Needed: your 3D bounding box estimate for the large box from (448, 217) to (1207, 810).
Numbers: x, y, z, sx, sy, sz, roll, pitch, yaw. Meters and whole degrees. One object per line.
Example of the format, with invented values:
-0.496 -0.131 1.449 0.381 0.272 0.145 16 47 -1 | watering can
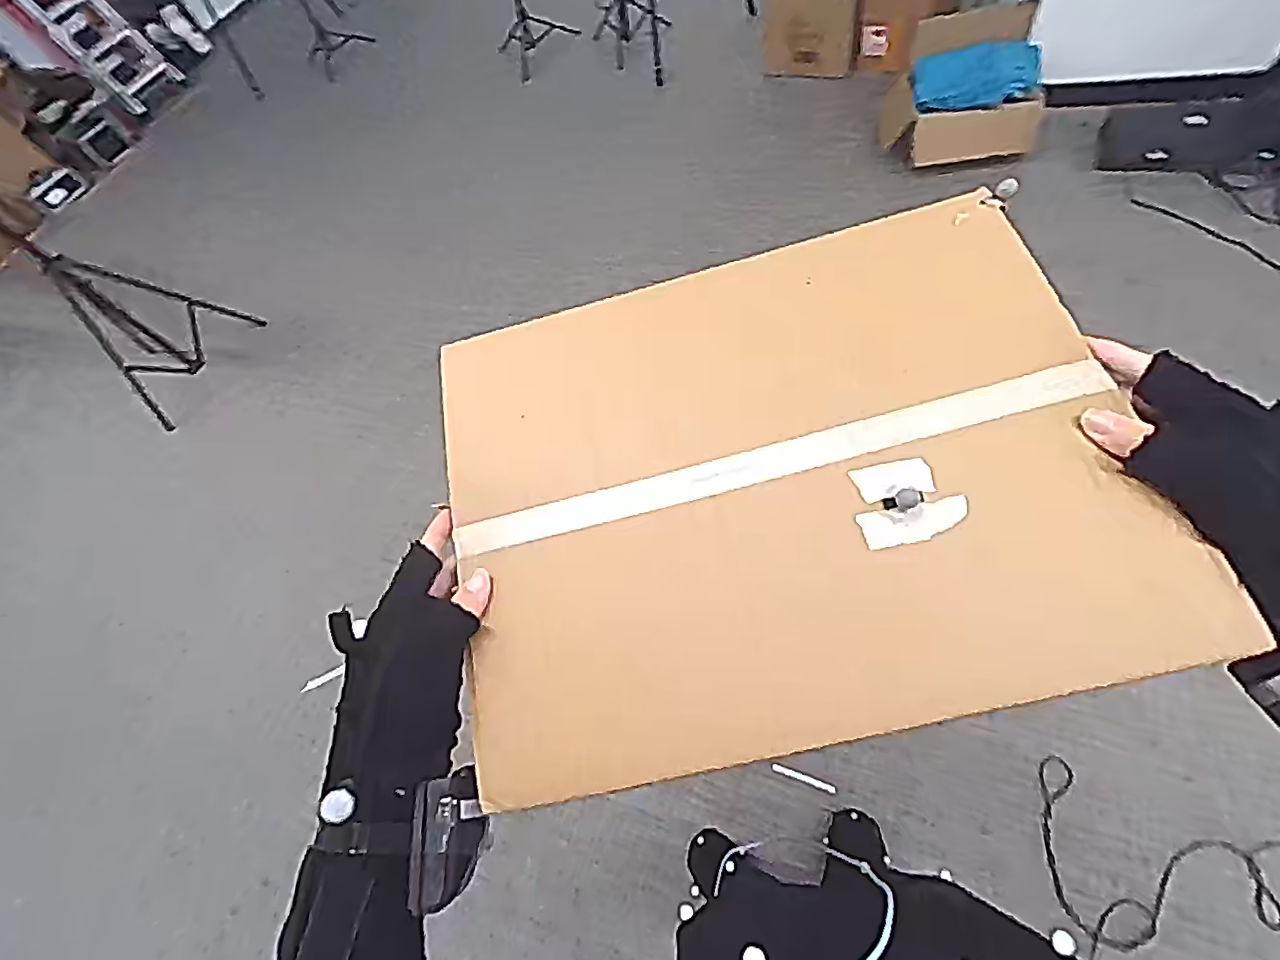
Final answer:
0.097 0.049 0.487 0.408 0.320 0.320 -16 68 4 | large box
